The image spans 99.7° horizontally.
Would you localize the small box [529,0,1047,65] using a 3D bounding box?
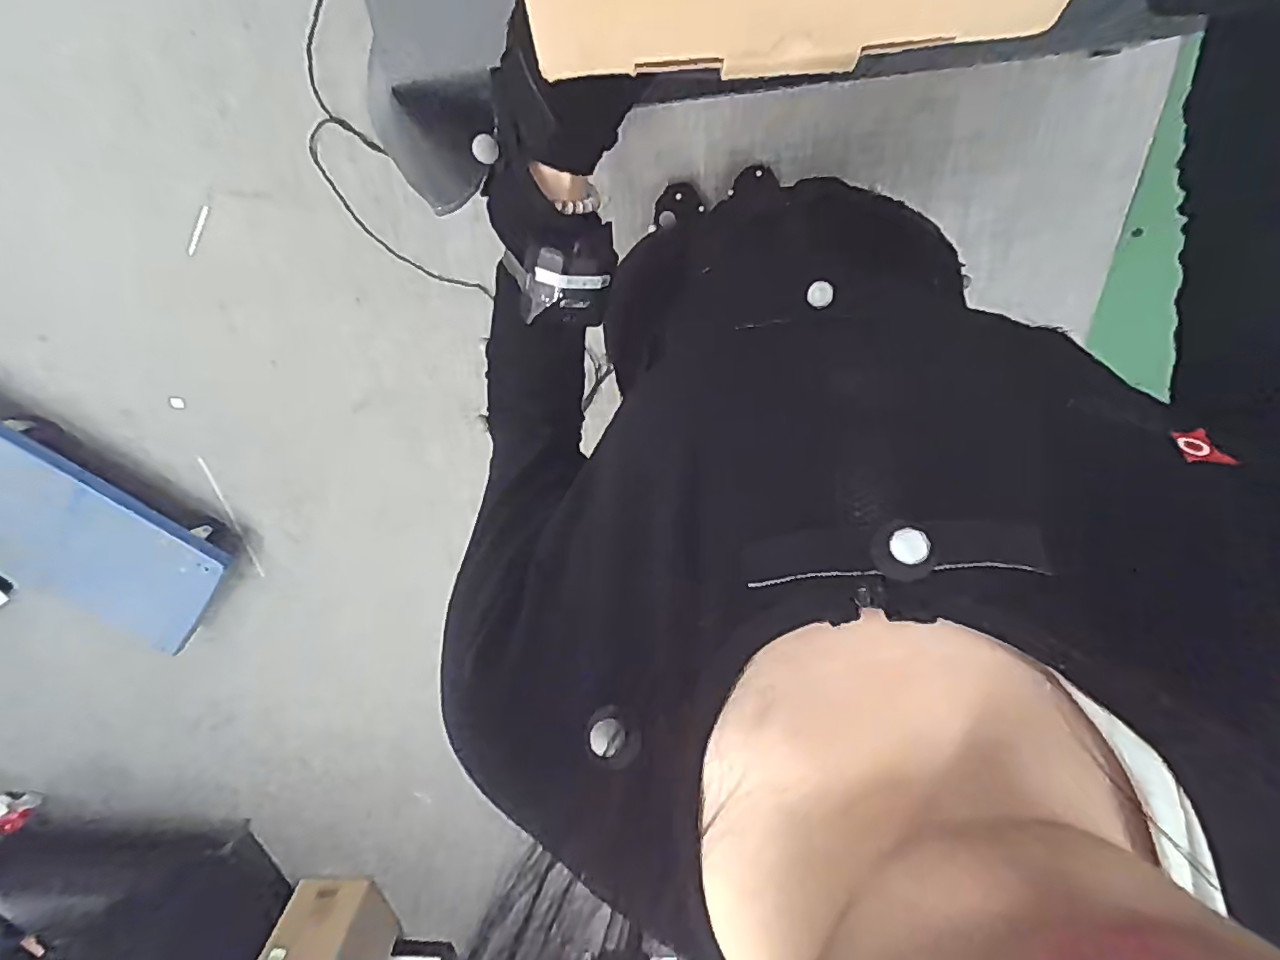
[{"bbox_3d":[0.041,-0.254,0.141,0.168,0.176,0.179,-4,152,1],"label":"small box"}]
